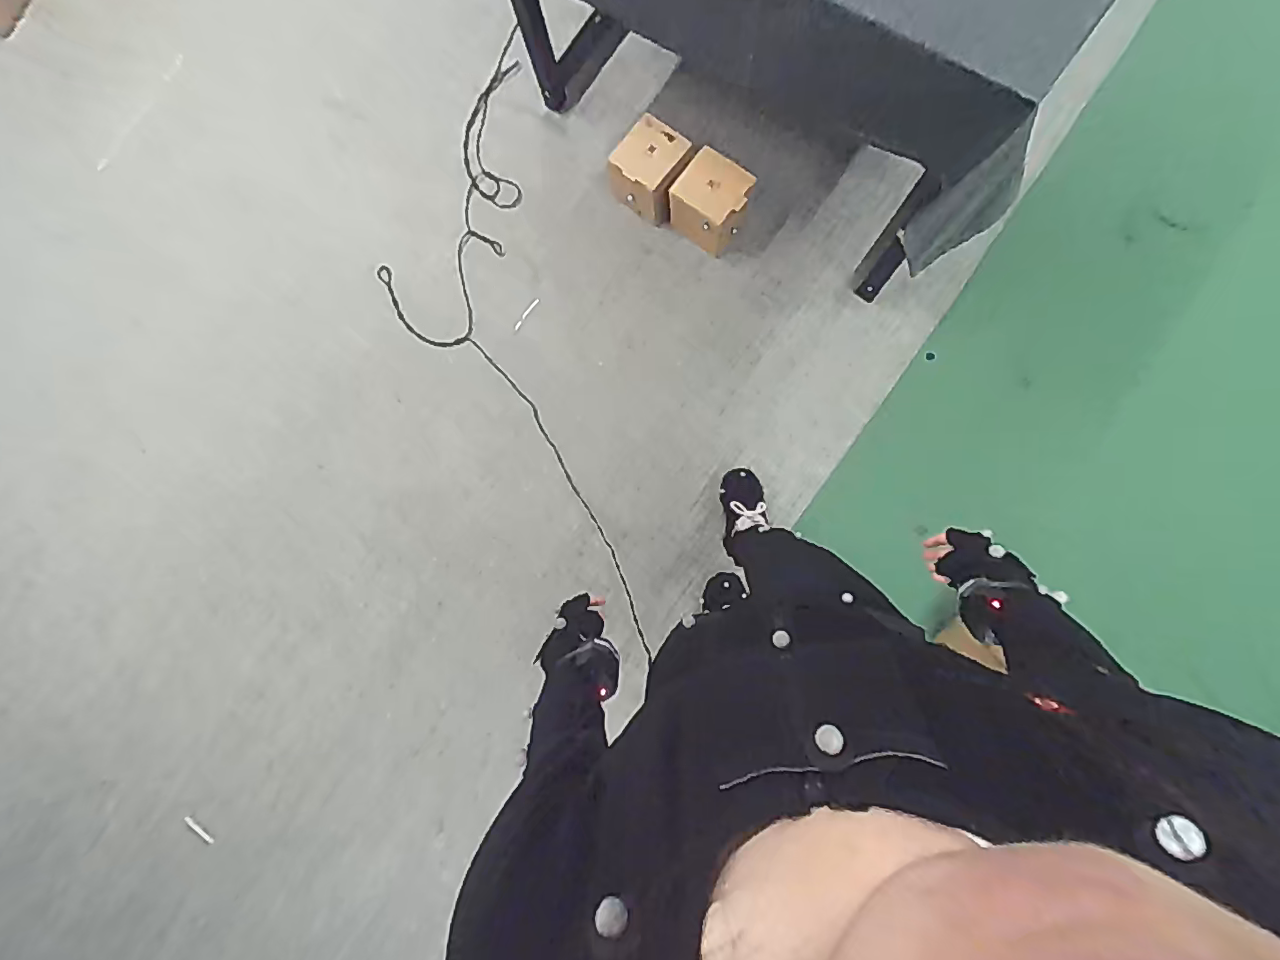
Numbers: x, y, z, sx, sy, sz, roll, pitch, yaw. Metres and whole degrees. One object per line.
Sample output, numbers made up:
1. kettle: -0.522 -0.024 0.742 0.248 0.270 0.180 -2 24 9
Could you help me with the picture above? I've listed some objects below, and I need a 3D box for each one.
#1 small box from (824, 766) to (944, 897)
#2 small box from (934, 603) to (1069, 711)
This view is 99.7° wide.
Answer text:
1. small box: 0.575 0.829 1.298 0.179 0.176 0.168 30 86 7
2. small box: 0.871 0.420 1.320 0.168 0.176 0.179 -44 81 -2
